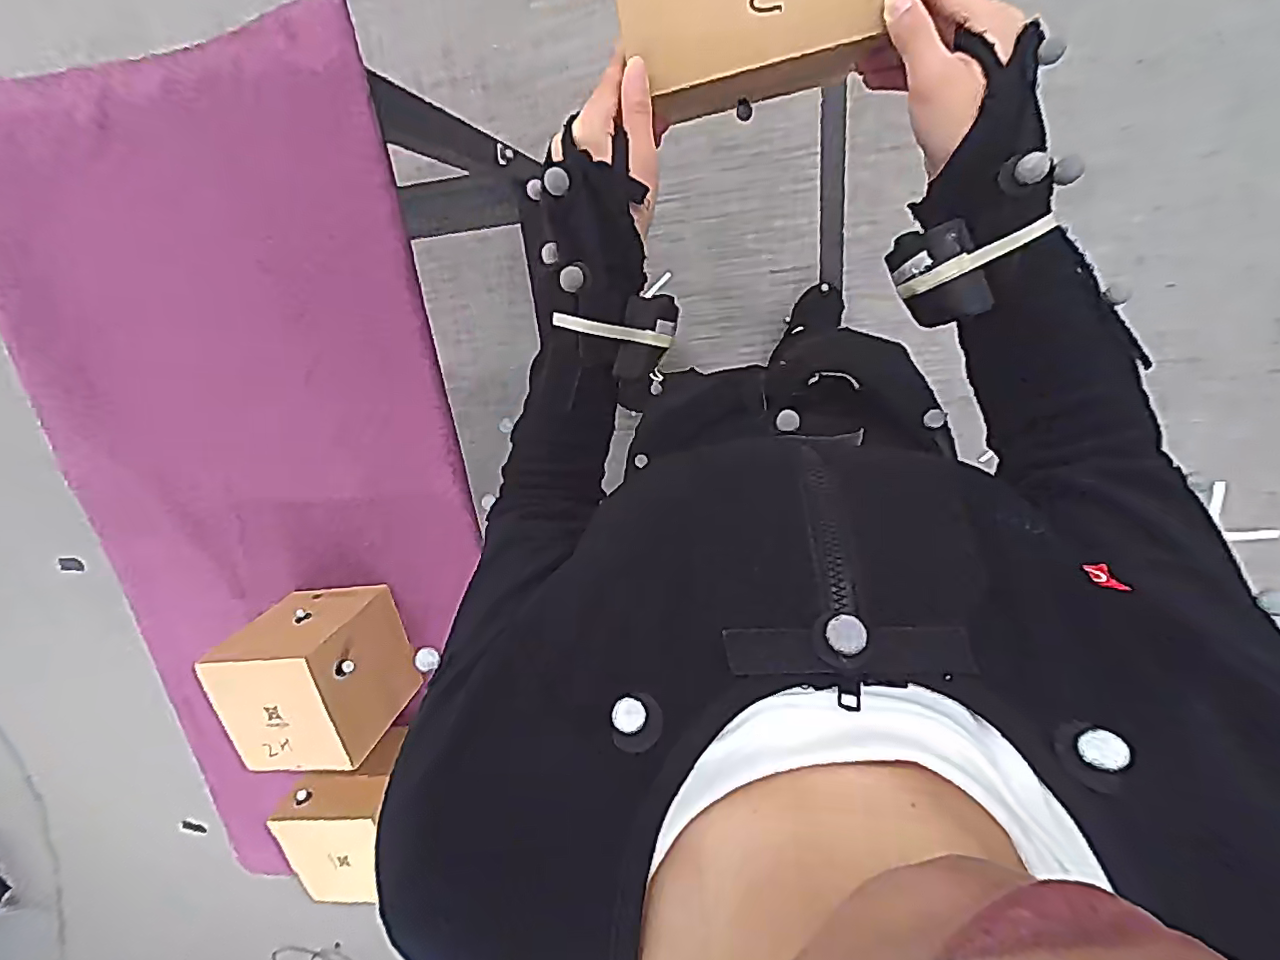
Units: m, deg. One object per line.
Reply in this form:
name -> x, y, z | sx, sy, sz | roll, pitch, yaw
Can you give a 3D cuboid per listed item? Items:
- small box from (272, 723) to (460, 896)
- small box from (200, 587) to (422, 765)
small box -> -0.402, 0.499, 0.835 | 0.179, 0.176, 0.168 | -10, 108, 14
small box -> -0.436, 0.260, 0.747 | 0.168, 0.176, 0.179 | -7, 109, 13
